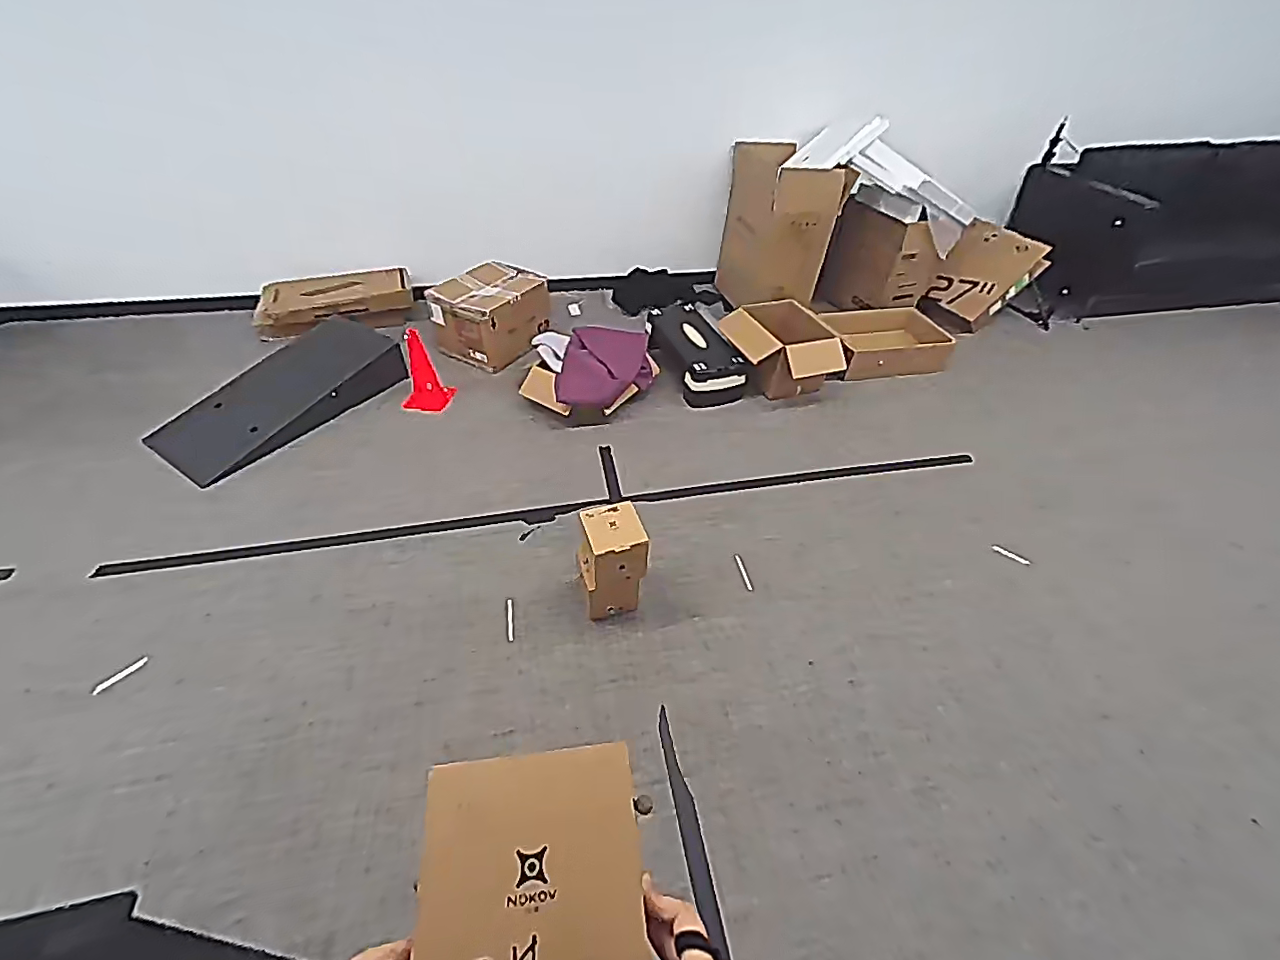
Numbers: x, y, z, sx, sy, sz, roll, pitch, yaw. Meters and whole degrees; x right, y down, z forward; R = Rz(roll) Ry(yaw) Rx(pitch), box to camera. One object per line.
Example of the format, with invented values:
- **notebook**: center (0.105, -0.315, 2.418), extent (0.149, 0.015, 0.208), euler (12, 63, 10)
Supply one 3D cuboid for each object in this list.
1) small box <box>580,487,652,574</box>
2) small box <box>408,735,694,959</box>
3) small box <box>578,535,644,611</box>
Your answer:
- **small box**: center (-0.070, 0.152, 1.559), extent (0.168, 0.176, 0.179), euler (-13, 46, -15)
- **small box**: center (-0.057, 0.302, 0.389), extent (0.168, 0.176, 0.179), euler (-5, 55, -6)
- **small box**: center (-0.093, 0.273, 1.670), extent (0.168, 0.176, 0.179), euler (-12, 47, -15)
